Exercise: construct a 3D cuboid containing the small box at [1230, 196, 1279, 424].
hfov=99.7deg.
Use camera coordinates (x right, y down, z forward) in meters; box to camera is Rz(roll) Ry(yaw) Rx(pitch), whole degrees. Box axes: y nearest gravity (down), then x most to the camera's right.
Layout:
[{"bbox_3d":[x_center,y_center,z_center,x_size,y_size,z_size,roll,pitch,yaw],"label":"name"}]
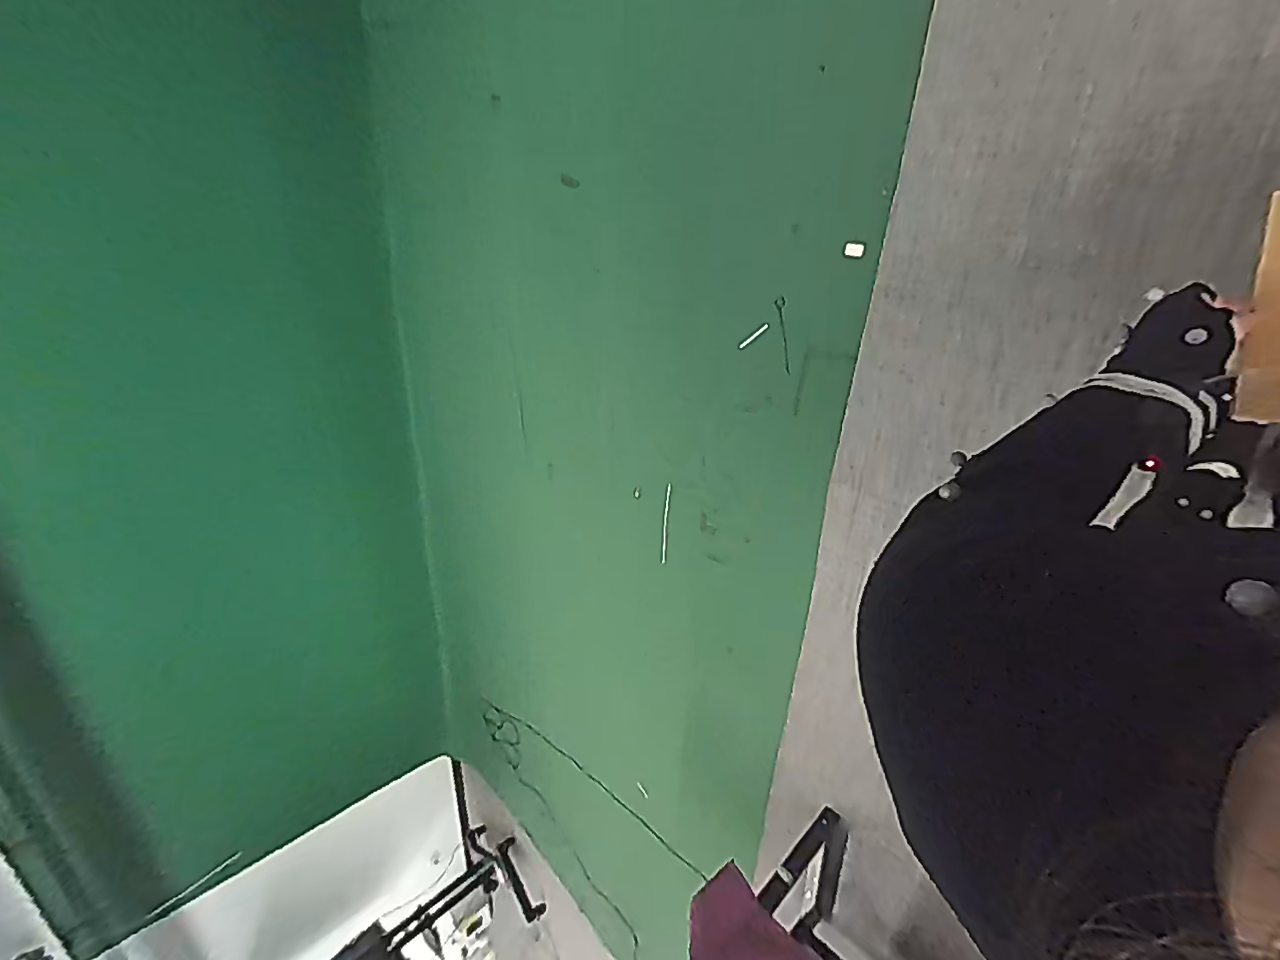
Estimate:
[{"bbox_3d":[0.685,-0.157,0.503,0.168,0.176,0.179,10,85,47],"label":"small box"}]
